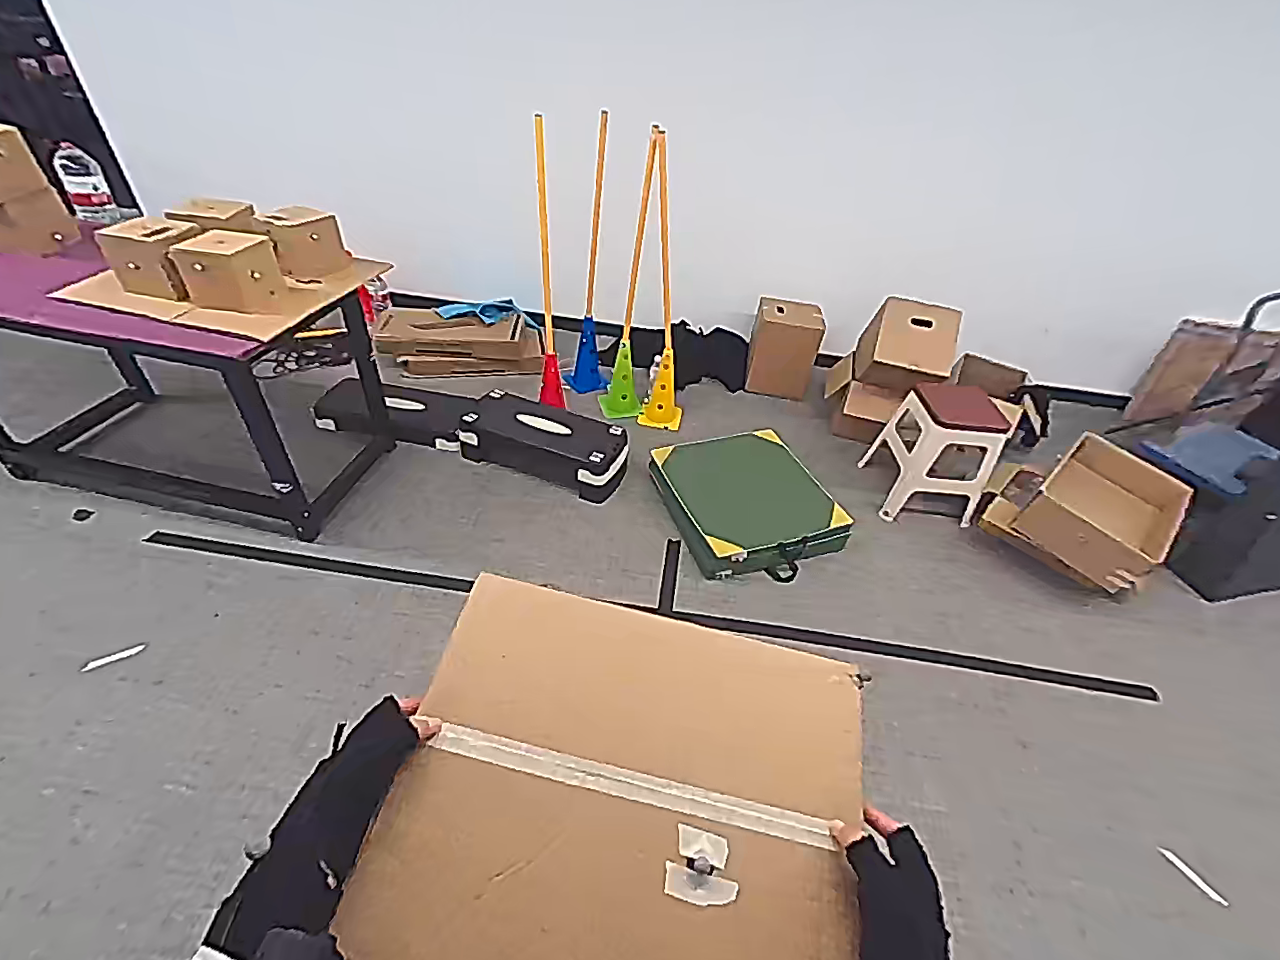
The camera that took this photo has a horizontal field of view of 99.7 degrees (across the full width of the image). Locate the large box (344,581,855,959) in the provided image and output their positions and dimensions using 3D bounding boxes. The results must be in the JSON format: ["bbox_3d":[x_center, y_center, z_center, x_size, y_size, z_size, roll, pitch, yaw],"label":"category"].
[{"bbox_3d":[-0.021,0.355,0.608,0.408,0.320,0.320,13,55,2],"label":"large box"}]
